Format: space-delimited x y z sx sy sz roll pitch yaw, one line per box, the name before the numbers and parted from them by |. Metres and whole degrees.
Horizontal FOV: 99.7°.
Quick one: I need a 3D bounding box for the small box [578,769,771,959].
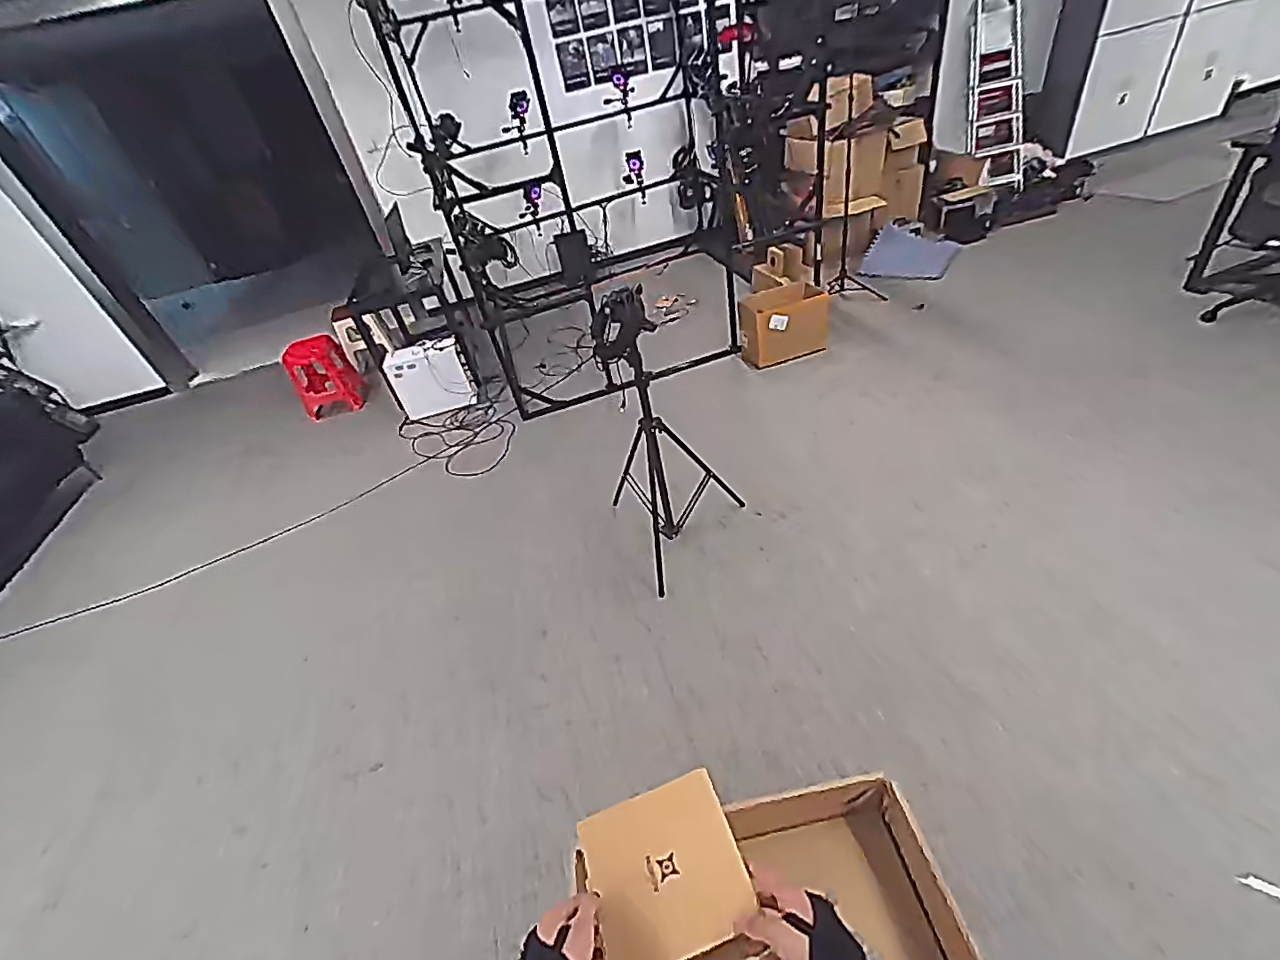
small box | 0.044 0.494 0.660 0.179 0.176 0.168 -21 42 -6
